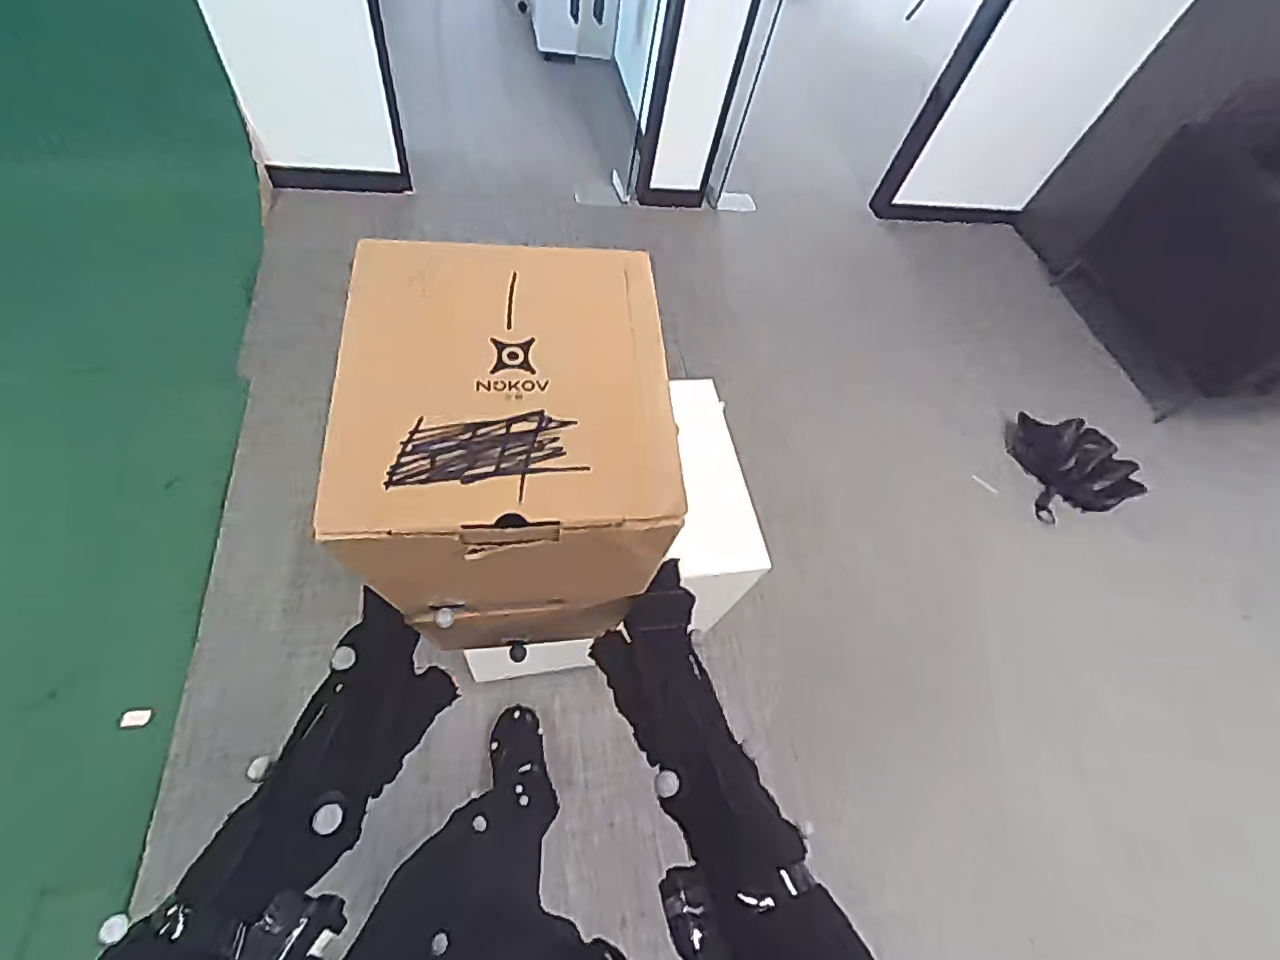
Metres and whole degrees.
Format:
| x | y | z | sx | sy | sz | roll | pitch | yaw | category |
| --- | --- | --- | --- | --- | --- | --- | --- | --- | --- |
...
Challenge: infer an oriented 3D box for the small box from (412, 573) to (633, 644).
| x | y | z | sx | sy | sz | roll | pitch | yaw | category |
| --- | --- | --- | --- | --- | --- | --- | --- | --- | --- |
| -0.106 | 0.047 | 0.510 | 0.168 | 0.176 | 0.179 | -3 | 66 | -10 | small box |

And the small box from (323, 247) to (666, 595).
| x | y | z | sx | sy | sz | roll | pitch | yaw | category |
| --- | --- | --- | --- | --- | --- | --- | --- | --- | --- |
| -0.083 | -0.025 | 0.364 | 0.168 | 0.176 | 0.179 | -1 | 64 | -10 | small box |
